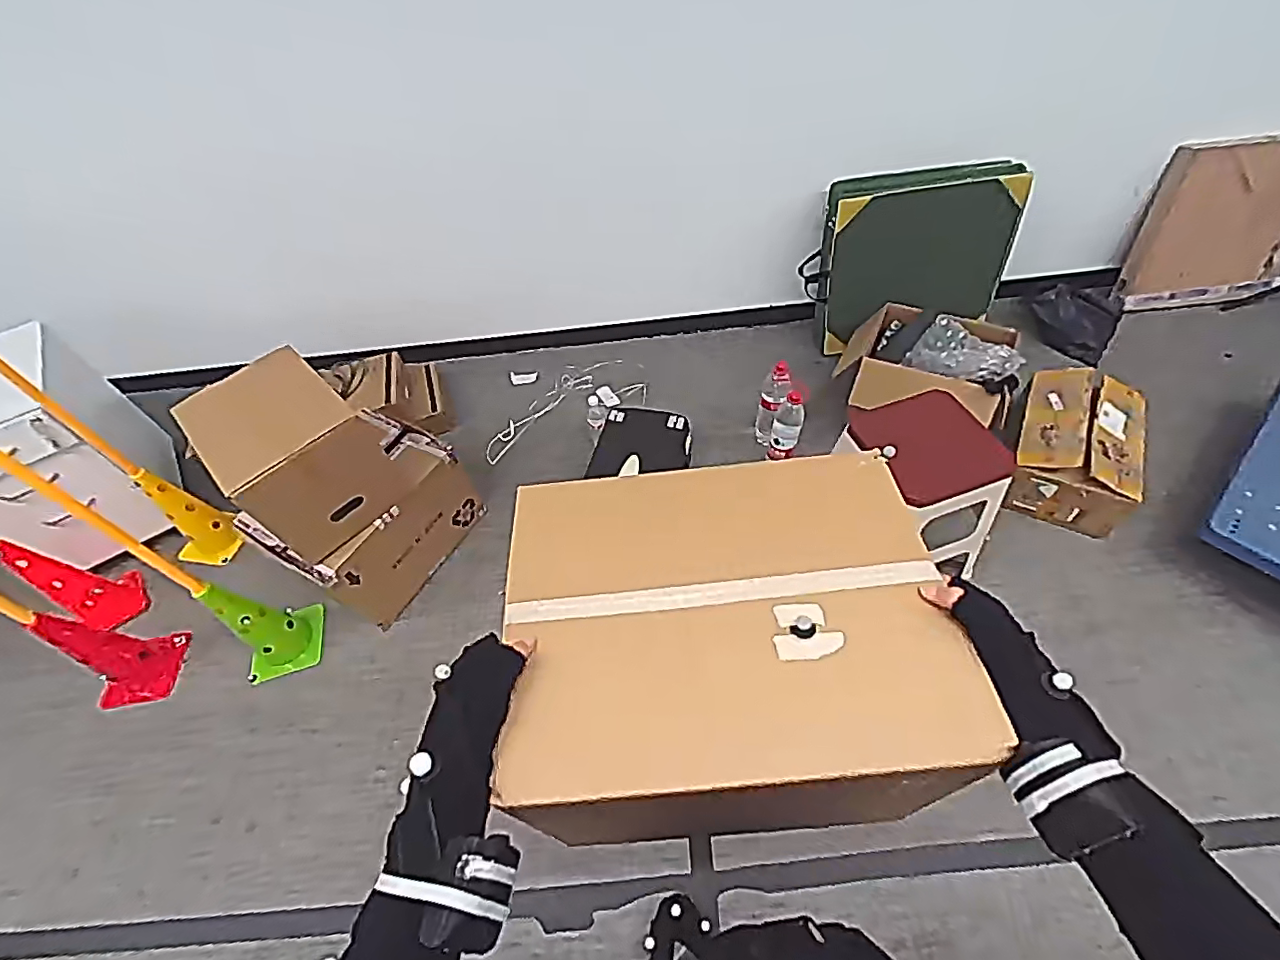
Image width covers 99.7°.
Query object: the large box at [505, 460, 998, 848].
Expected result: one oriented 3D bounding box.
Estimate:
[{"bbox_3d":[0.087,0.210,0.634,0.408,0.320,0.320,-6,50,1],"label":"large box"}]
